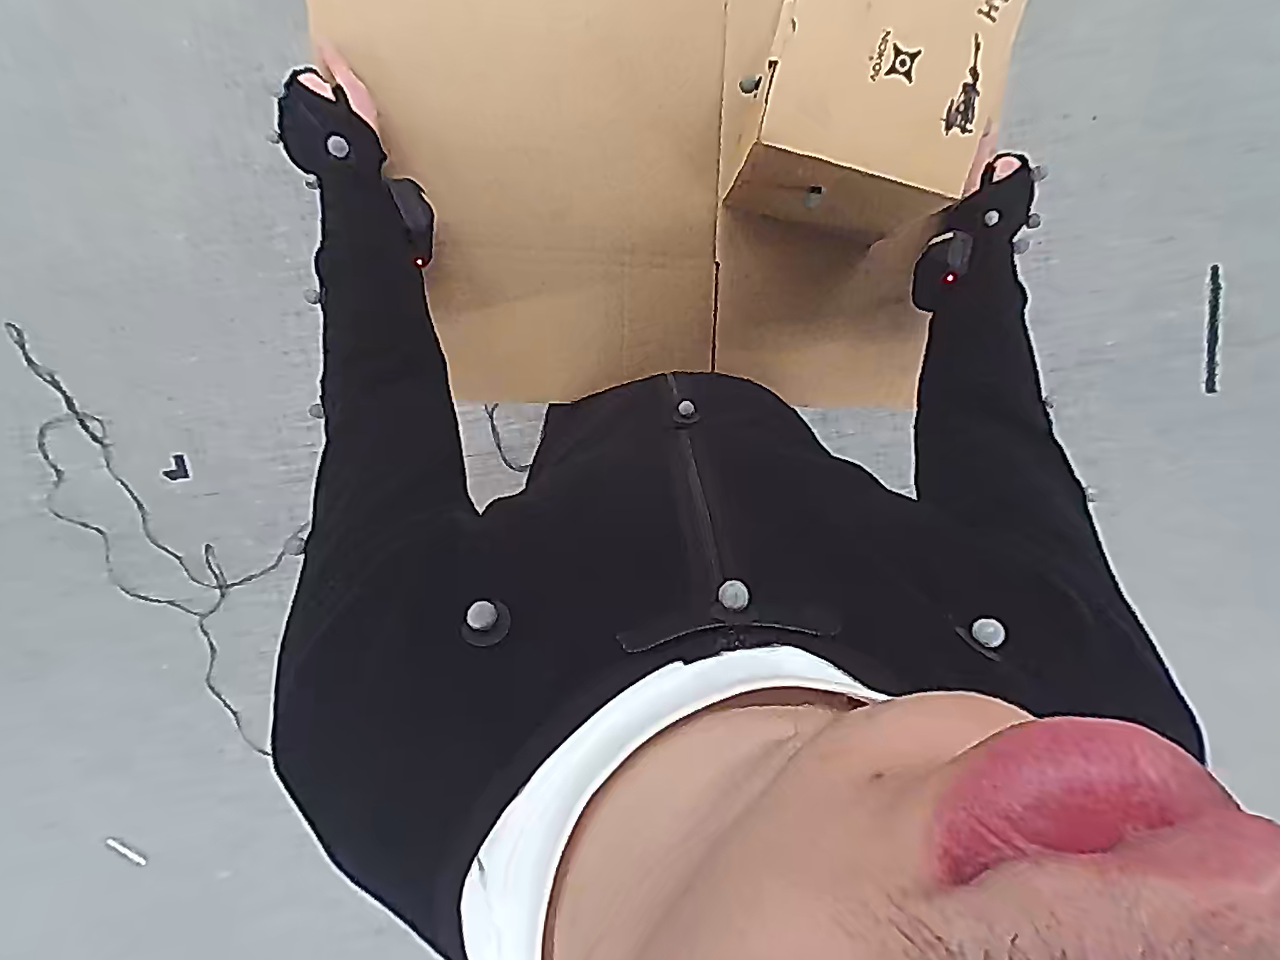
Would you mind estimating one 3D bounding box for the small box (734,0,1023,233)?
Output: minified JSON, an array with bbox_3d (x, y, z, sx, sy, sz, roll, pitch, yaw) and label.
[{"bbox_3d":[0.198,-0.348,0.502,0.179,0.176,0.168,14,102,-2],"label":"small box"}]
